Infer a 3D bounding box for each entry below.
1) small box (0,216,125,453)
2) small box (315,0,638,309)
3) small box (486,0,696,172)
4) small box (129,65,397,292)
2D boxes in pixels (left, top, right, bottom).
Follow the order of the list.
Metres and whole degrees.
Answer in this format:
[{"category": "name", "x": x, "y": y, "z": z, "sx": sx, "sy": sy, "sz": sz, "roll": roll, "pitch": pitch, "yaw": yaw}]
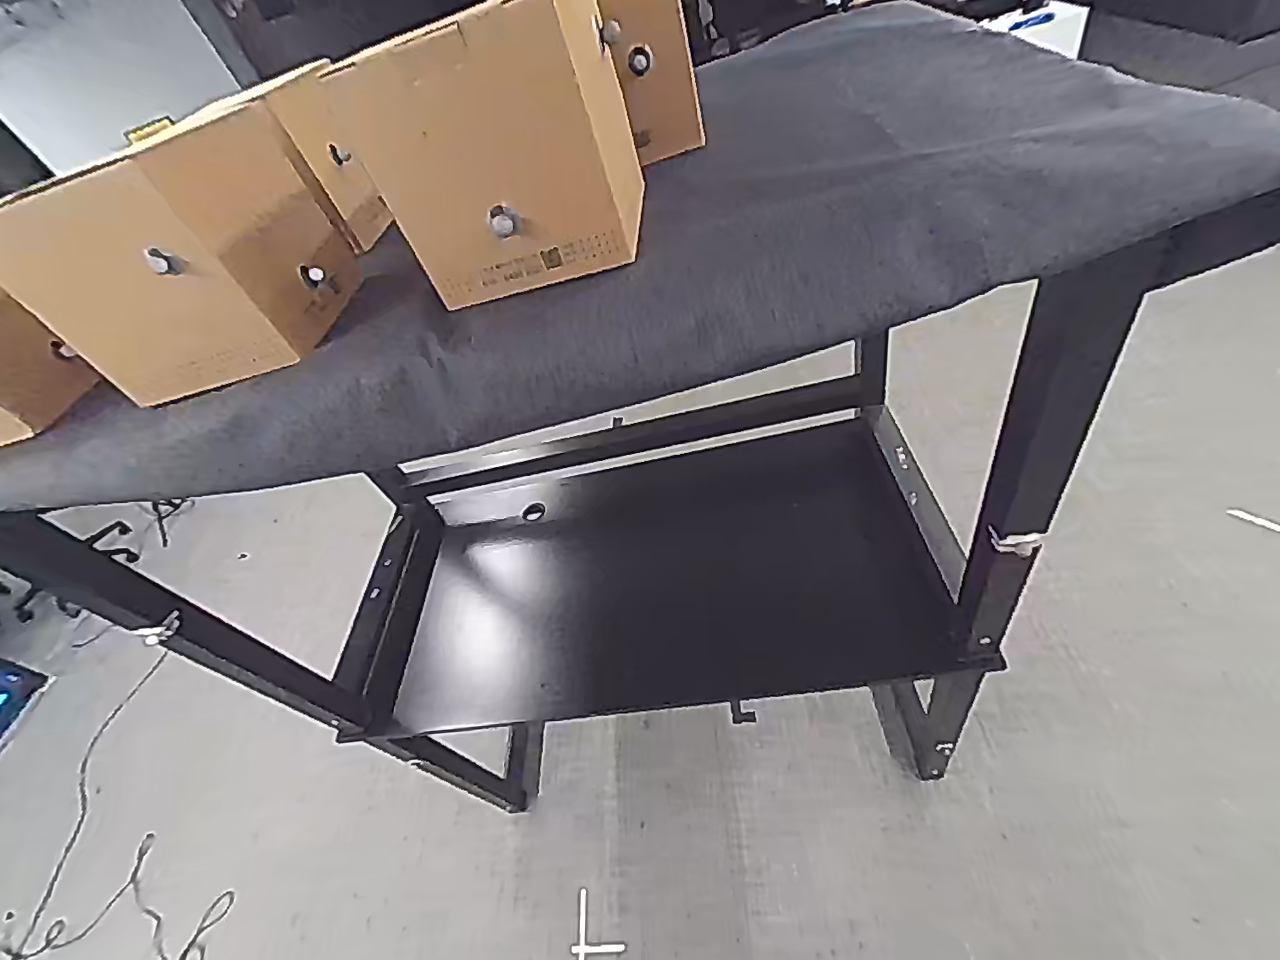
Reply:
[{"category": "small box", "x": -0.690, "y": -0.135, "z": 0.543, "sx": 0.168, "sy": 0.176, "sz": 0.179, "roll": -13, "pitch": 45, "yaw": 9}, {"category": "small box", "x": -0.104, "y": -0.266, "z": 0.437, "sx": 0.168, "sy": 0.176, "sz": 0.179, "roll": -10, "pitch": 45, "yaw": 14}, {"category": "small box", "x": -0.041, "y": -0.436, "z": 0.574, "sx": 0.168, "sy": 0.176, "sz": 0.179, "roll": -12, "pitch": 46, "yaw": 9}, {"category": "small box", "x": -0.427, "y": -0.357, "z": 0.653, "sx": 0.179, "sy": 0.176, "sz": 0.168, "roll": -11, "pitch": 46, "yaw": 12}]
